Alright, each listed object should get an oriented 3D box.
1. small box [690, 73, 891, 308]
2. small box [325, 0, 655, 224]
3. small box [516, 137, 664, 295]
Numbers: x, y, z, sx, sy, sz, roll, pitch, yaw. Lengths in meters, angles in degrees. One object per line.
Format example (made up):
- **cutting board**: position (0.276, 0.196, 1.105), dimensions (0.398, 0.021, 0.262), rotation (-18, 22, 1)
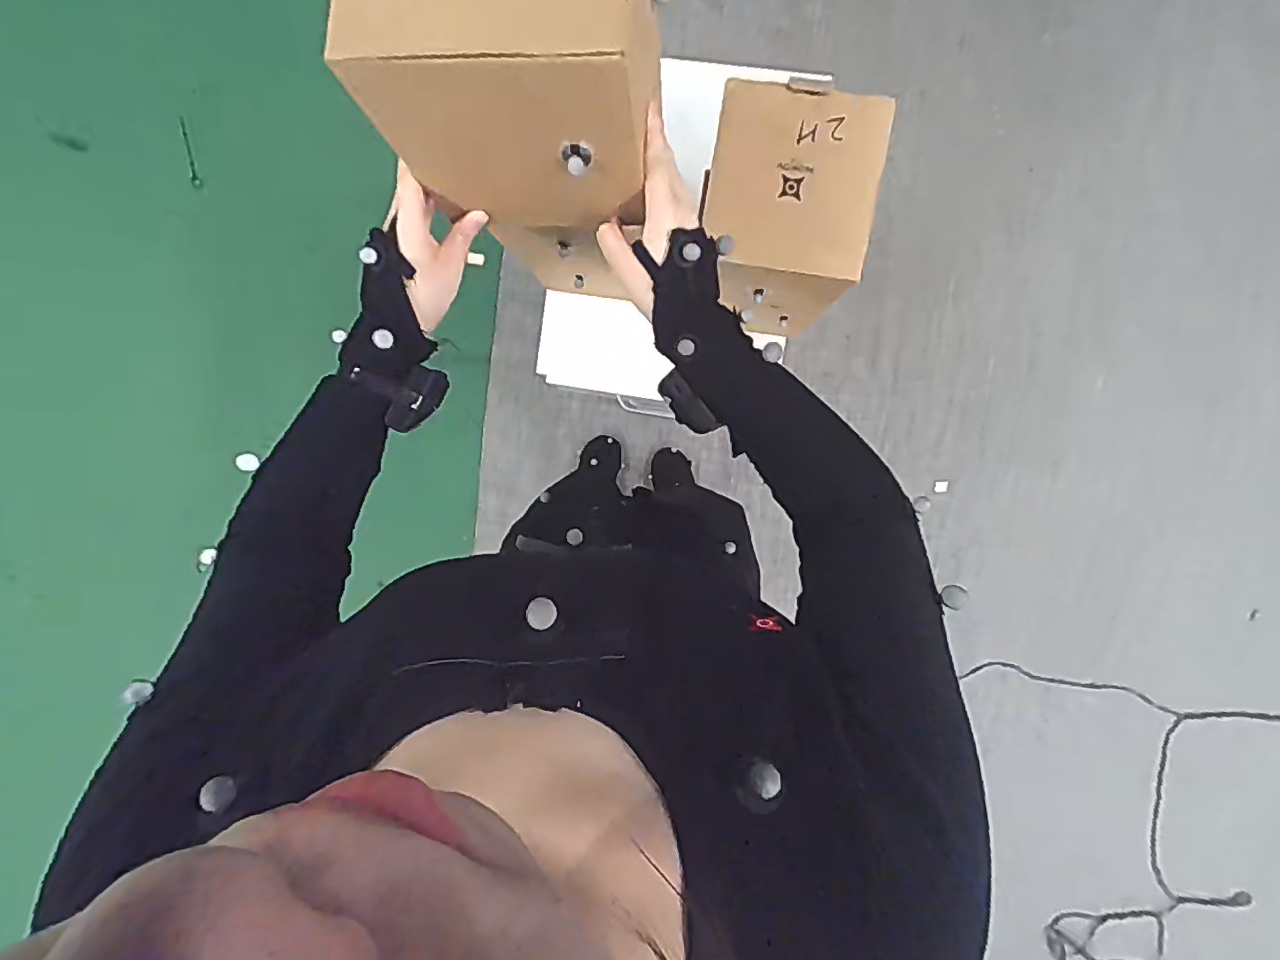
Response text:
- **small box**: position (0.152, -0.304, 0.607), dimensions (0.168, 0.176, 0.179), rotation (10, 96, 3)
- **small box**: position (-0.083, -0.306, 0.388), dimensions (0.179, 0.176, 0.168), rotation (3, 84, 6)
- **small box**: position (-0.063, -0.376, 0.781), dimensions (0.179, 0.176, 0.168), rotation (8, 97, 2)
